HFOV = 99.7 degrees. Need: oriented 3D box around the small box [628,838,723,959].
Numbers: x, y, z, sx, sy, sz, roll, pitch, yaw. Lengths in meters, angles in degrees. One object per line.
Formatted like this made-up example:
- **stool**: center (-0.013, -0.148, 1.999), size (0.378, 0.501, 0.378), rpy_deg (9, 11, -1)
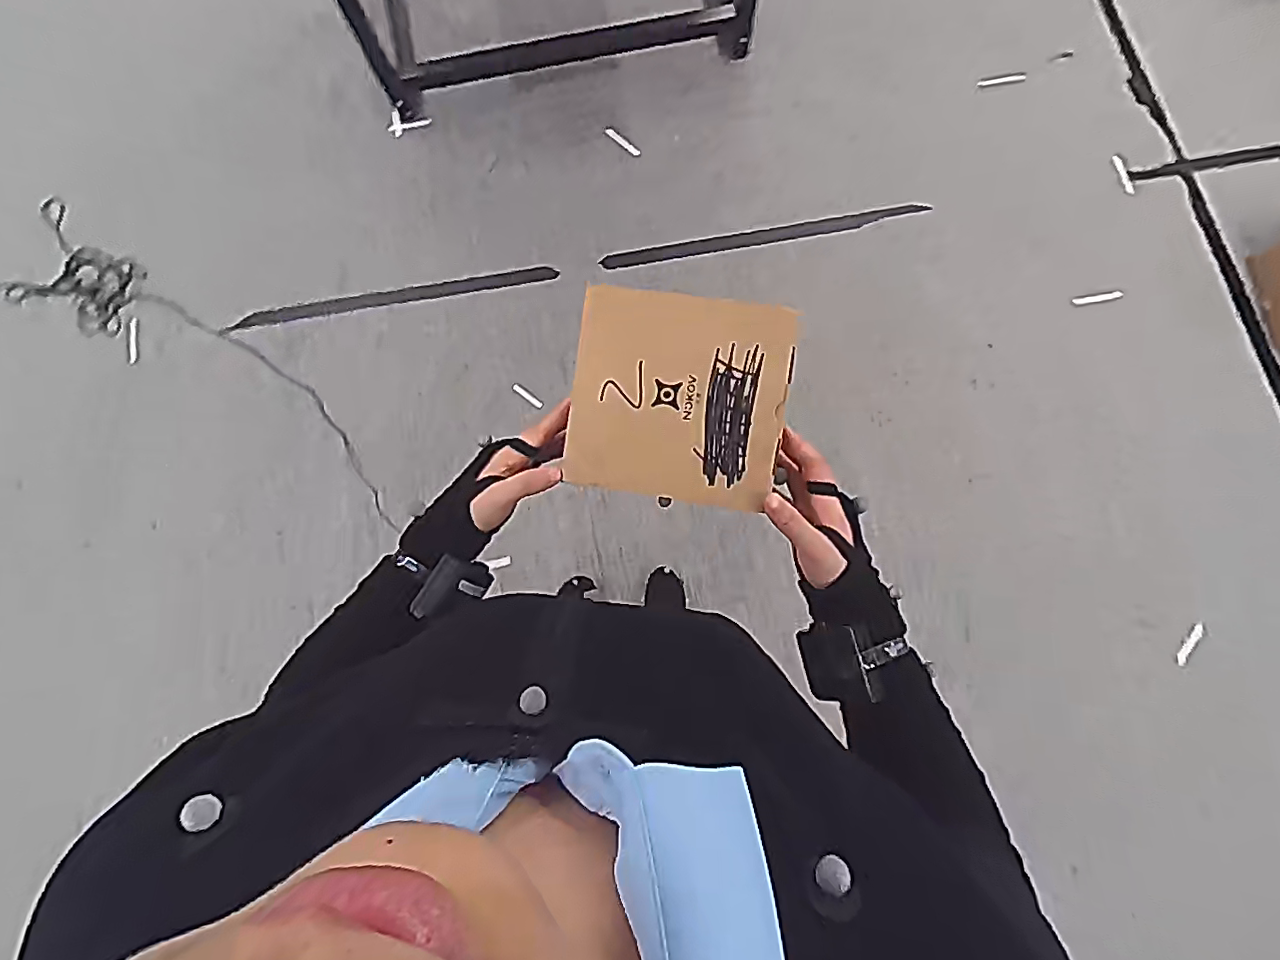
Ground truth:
- **small box**: center (0.072, 0.894, 1.131), size (0.168, 0.176, 0.179), rpy_deg (-11, 79, -2)
